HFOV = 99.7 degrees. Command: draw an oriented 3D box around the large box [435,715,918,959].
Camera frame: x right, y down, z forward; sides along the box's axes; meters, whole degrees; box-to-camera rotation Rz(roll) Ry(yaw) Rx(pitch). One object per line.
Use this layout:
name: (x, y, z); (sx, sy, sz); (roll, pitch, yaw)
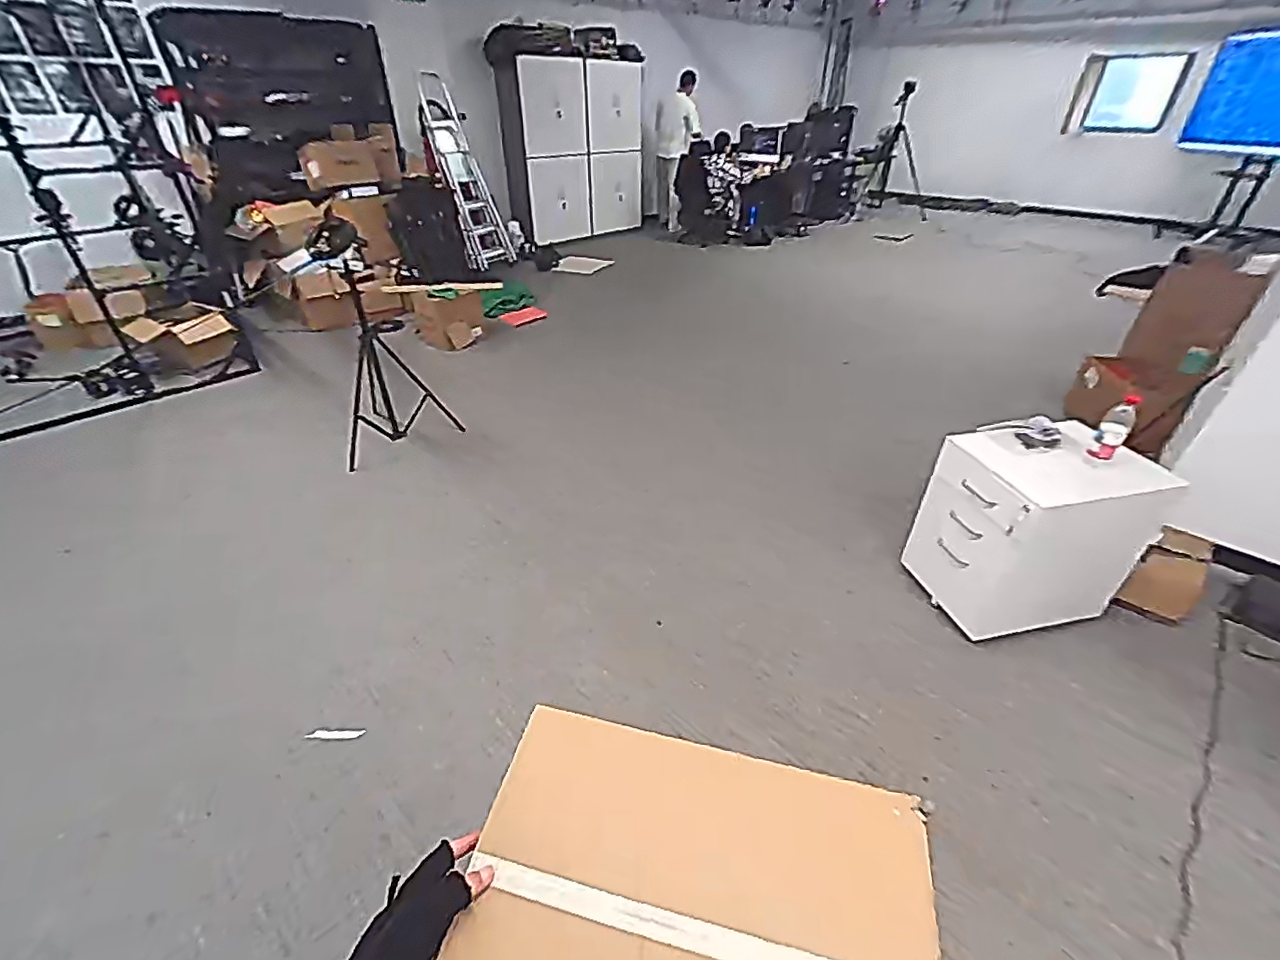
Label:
large box: (0.036, 0.503, 0.568); (0.408, 0.320, 0.320); (8, 43, 11)
